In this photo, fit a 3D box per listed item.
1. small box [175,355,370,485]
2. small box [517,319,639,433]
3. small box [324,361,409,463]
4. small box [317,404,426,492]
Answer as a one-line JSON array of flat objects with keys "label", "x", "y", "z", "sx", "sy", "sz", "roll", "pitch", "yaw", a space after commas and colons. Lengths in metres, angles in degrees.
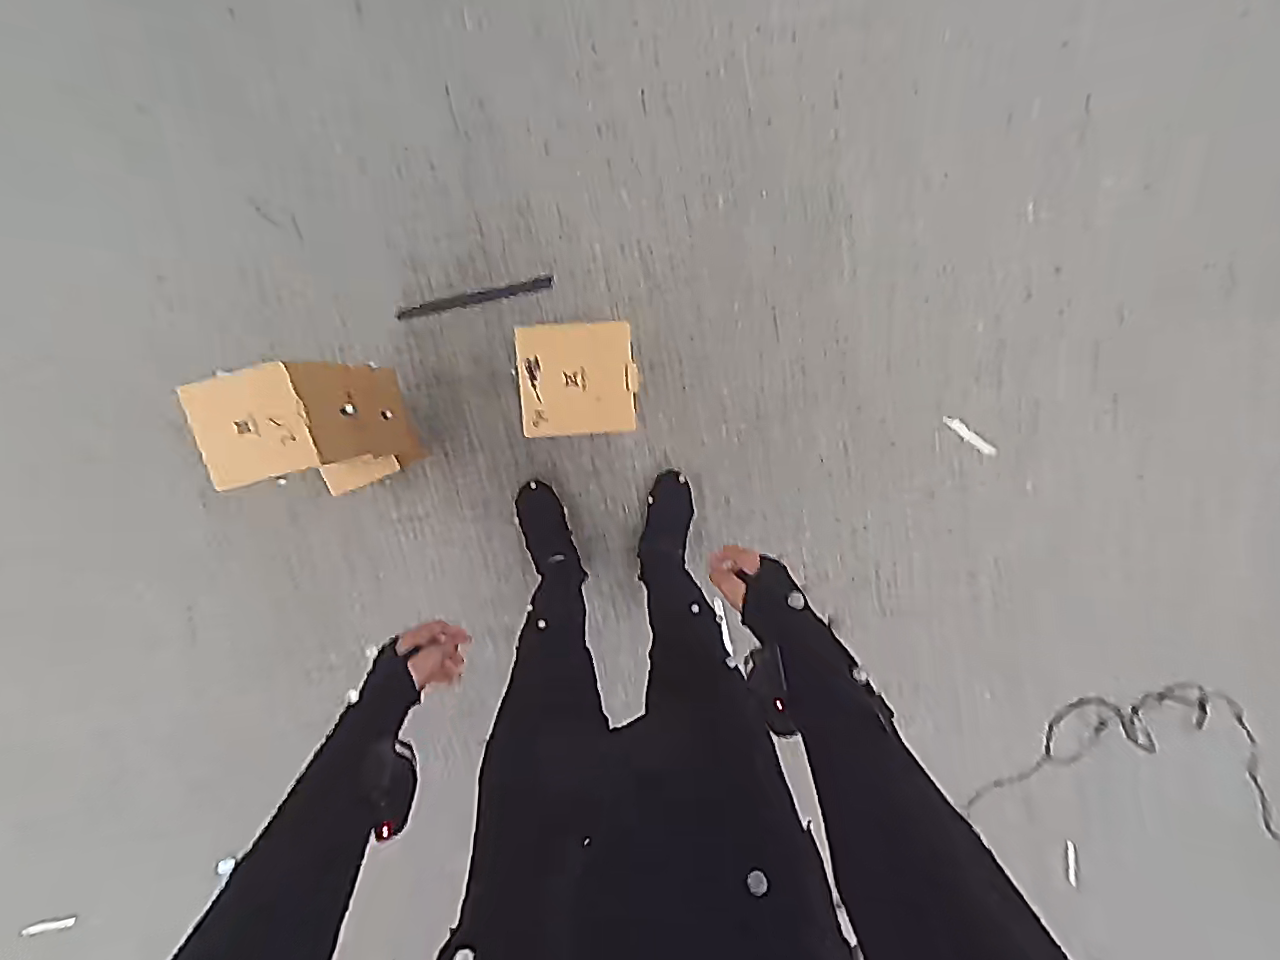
[{"label": "small box", "x": -0.585, "y": -0.100, "z": 0.885, "sx": 0.179, "sy": 0.176, "sz": 0.168, "roll": -14, "pitch": 100, "yaw": 2}, {"label": "small box", "x": -0.097, "y": -0.169, "z": 0.884, "sx": 0.179, "sy": 0.176, "sz": 0.168, "roll": -3, "pitch": 100, "yaw": -3}, {"label": "small box", "x": -0.573, "y": -0.131, "z": 1.047, "sx": 0.168, "sy": 0.176, "sz": 0.179, "roll": -7, "pitch": 100, "yaw": 1}, {"label": "small box", "x": -0.617, "y": -0.093, "z": 1.218, "sx": 0.168, "sy": 0.176, "sz": 0.179, "roll": -21, "pitch": 100, "yaw": 3}]
